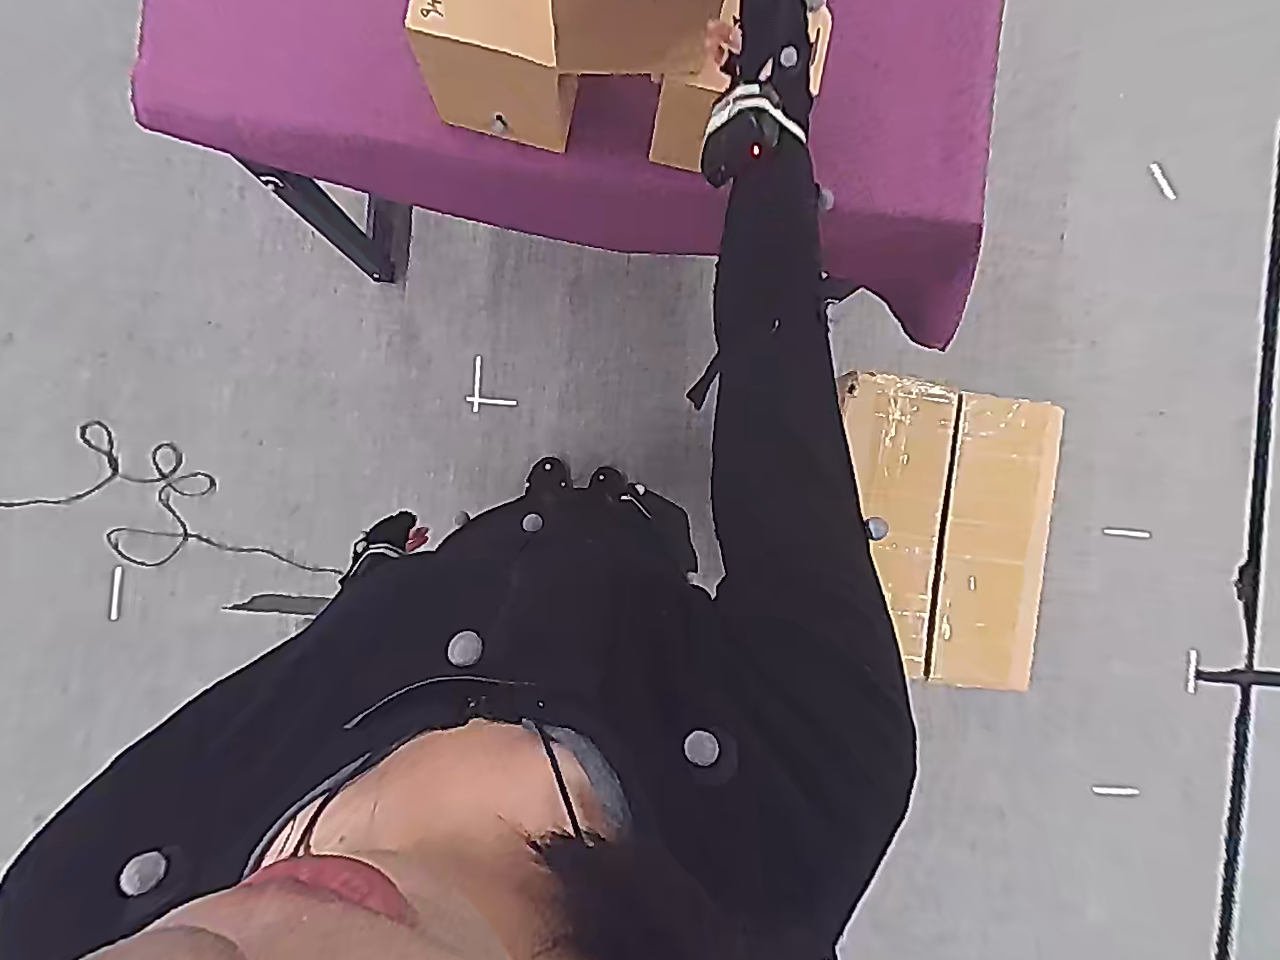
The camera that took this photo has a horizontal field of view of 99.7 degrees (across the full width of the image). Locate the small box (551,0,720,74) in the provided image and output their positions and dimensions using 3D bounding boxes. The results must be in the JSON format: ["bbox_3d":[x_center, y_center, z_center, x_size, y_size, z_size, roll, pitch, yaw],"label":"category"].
[{"bbox_3d":[-0.007,-0.551,0.548,0.179,0.176,0.168,-4,92,-6],"label":"small box"}]

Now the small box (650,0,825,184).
[{"bbox_3d":[0.119,-0.530,0.723,0.179,0.176,0.168,10,88,-4],"label":"small box"}]

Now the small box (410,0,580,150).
[{"bbox_3d":[-0.169,-0.566,0.697,0.179,0.176,0.168,11,88,-7],"label":"small box"}]
